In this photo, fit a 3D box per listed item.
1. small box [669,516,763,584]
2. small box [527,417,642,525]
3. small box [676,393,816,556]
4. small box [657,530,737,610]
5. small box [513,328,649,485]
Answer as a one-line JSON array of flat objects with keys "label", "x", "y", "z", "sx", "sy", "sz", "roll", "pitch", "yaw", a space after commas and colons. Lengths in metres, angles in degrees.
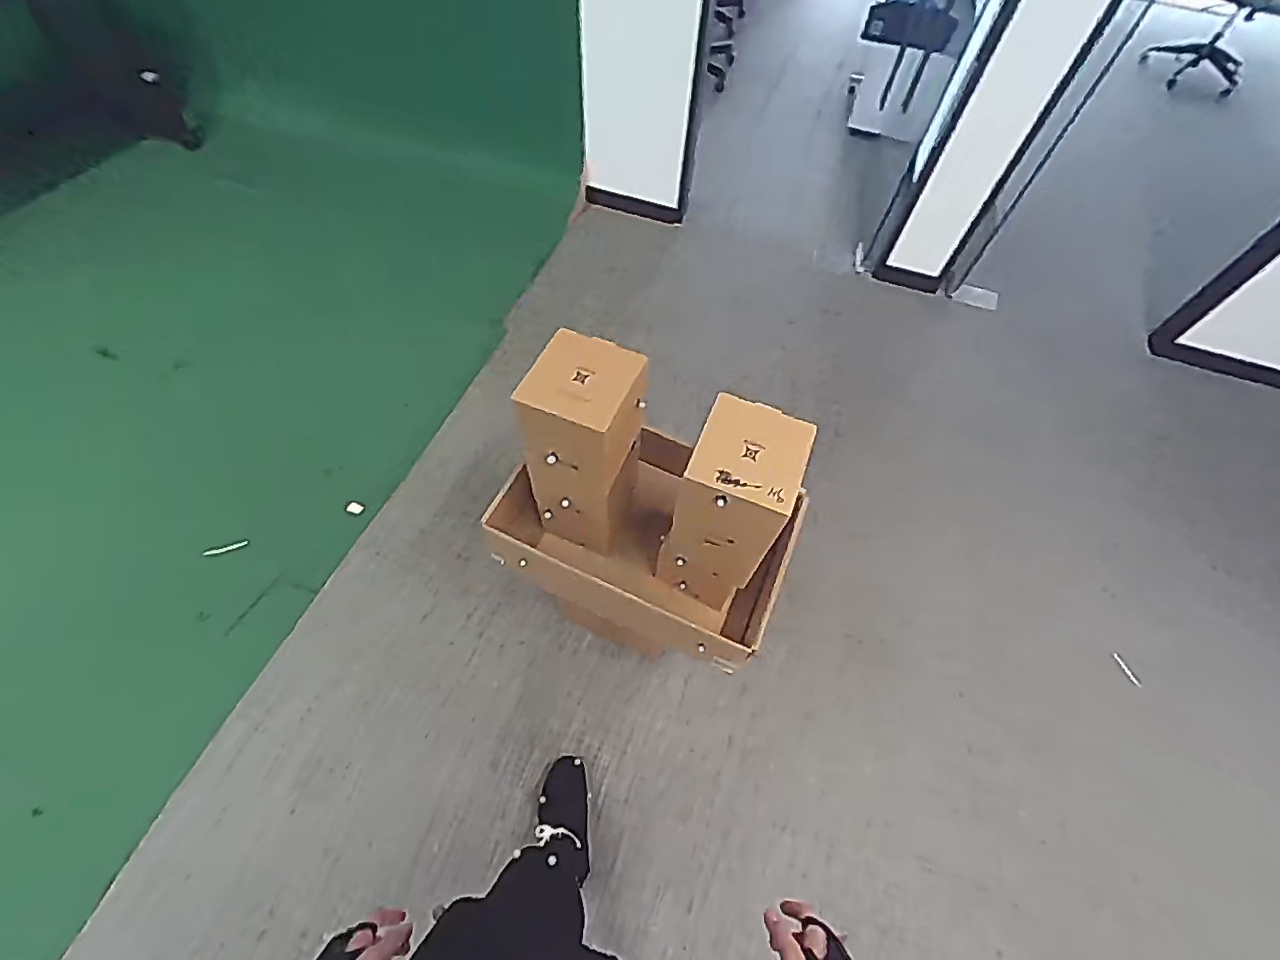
[{"label": "small box", "x": 0.160, "y": 0.075, "z": 1.029, "sx": 0.168, "sy": 0.176, "sz": 0.179, "roll": 20, "pitch": 60, "yaw": 8}, {"label": "small box", "x": -0.107, "y": -0.042, "z": 1.079, "sx": 0.168, "sy": 0.176, "sz": 0.179, "roll": 21, "pitch": 60, "yaw": 9}, {"label": "small box", "x": 0.166, "y": -0.004, "z": 0.886, "sx": 0.168, "sy": 0.176, "sz": 0.179, "roll": 21, "pitch": 60, "yaw": 9}, {"label": "small box", "x": 0.146, "y": 0.152, "z": 1.174, "sx": 0.168, "sy": 0.176, "sz": 0.179, "roll": 25, "pitch": 61, "yaw": 10}, {"label": "small box", "x": -0.098, "y": -0.124, "z": 0.939, "sx": 0.168, "sy": 0.176, "sz": 0.179, "roll": 21, "pitch": 60, "yaw": 10}]
